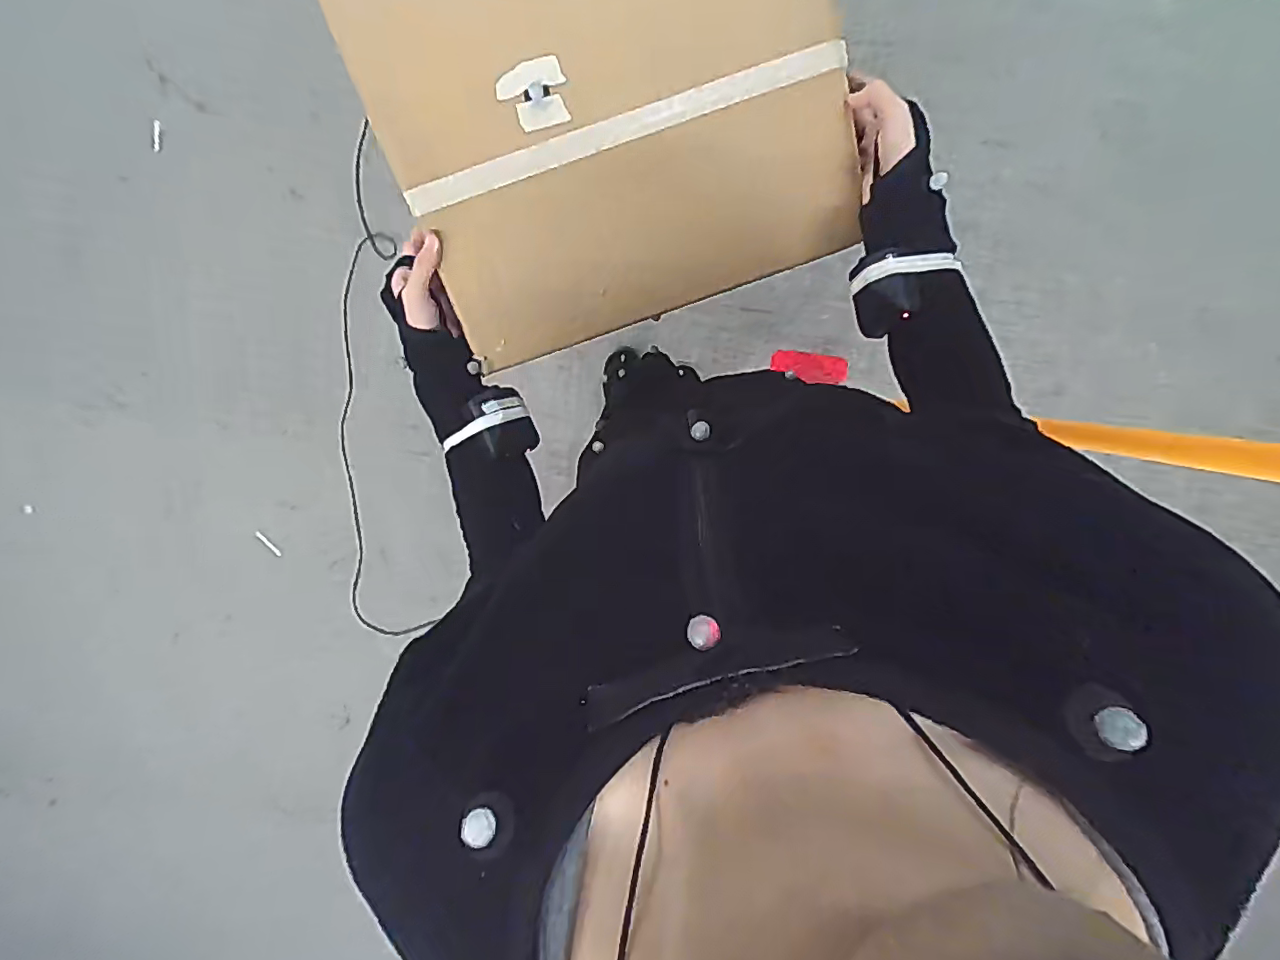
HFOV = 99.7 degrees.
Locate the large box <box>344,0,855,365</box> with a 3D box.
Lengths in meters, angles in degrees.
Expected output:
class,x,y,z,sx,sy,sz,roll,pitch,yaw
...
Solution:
class,x,y,z,sx,sy,sz,roll,pitch,yaw
large box,-0.030,-0.364,0.632,0.408,0.320,0.320,-19,109,-1
